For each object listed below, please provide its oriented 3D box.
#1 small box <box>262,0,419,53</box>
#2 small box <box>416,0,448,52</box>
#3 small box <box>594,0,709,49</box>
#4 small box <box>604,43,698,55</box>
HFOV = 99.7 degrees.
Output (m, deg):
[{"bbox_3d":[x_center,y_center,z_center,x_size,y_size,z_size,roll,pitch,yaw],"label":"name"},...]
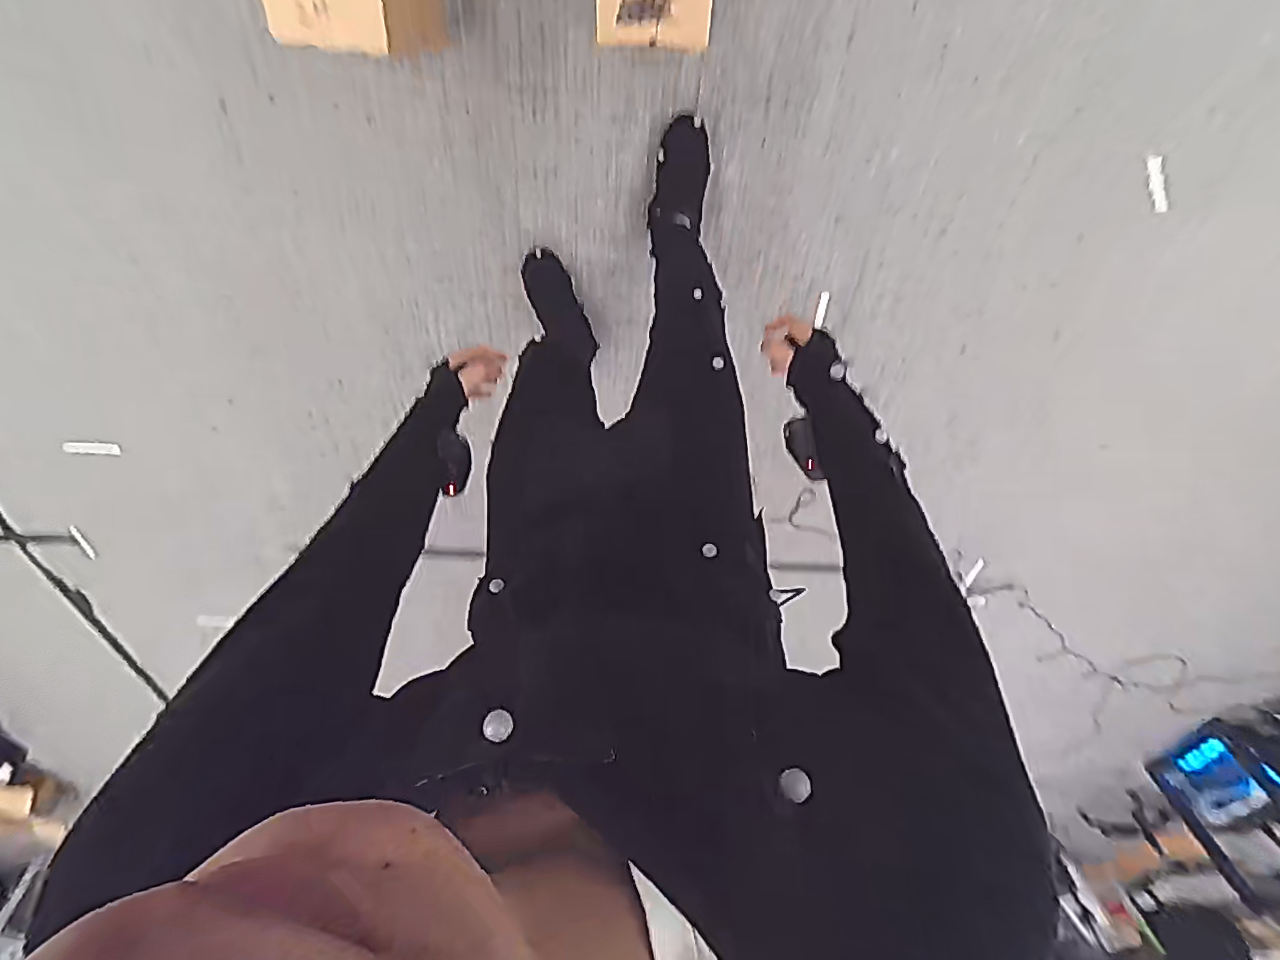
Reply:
[{"bbox_3d":[-0.437,-0.745,0.788,0.168,0.176,0.179,5,128,-5],"label":"small box"},{"bbox_3d":[-0.435,-0.850,0.916,0.168,0.176,0.179,5,127,-5],"label":"small box"},{"bbox_3d":[0.017,-0.756,0.802,0.168,0.176,0.179,0,127,-3],"label":"small box"},{"bbox_3d":[0.021,-0.852,0.937,0.168,0.176,0.179,0,127,-3],"label":"small box"}]
